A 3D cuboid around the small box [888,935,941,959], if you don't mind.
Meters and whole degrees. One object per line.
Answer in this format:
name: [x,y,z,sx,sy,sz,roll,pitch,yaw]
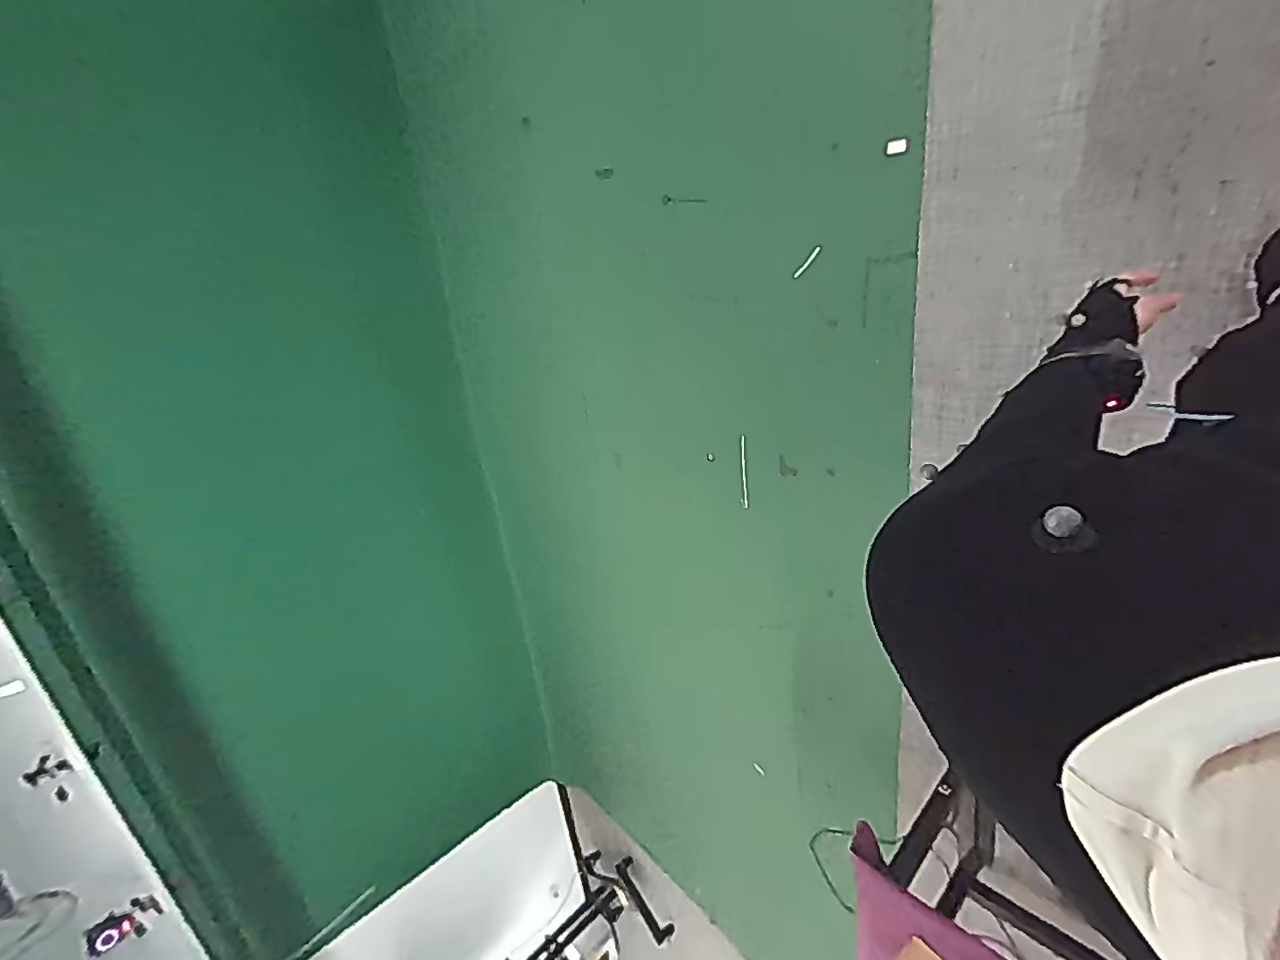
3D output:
small box: [0.628,1.185,1.215,0.168,0.176,0.179,32,133,35]
